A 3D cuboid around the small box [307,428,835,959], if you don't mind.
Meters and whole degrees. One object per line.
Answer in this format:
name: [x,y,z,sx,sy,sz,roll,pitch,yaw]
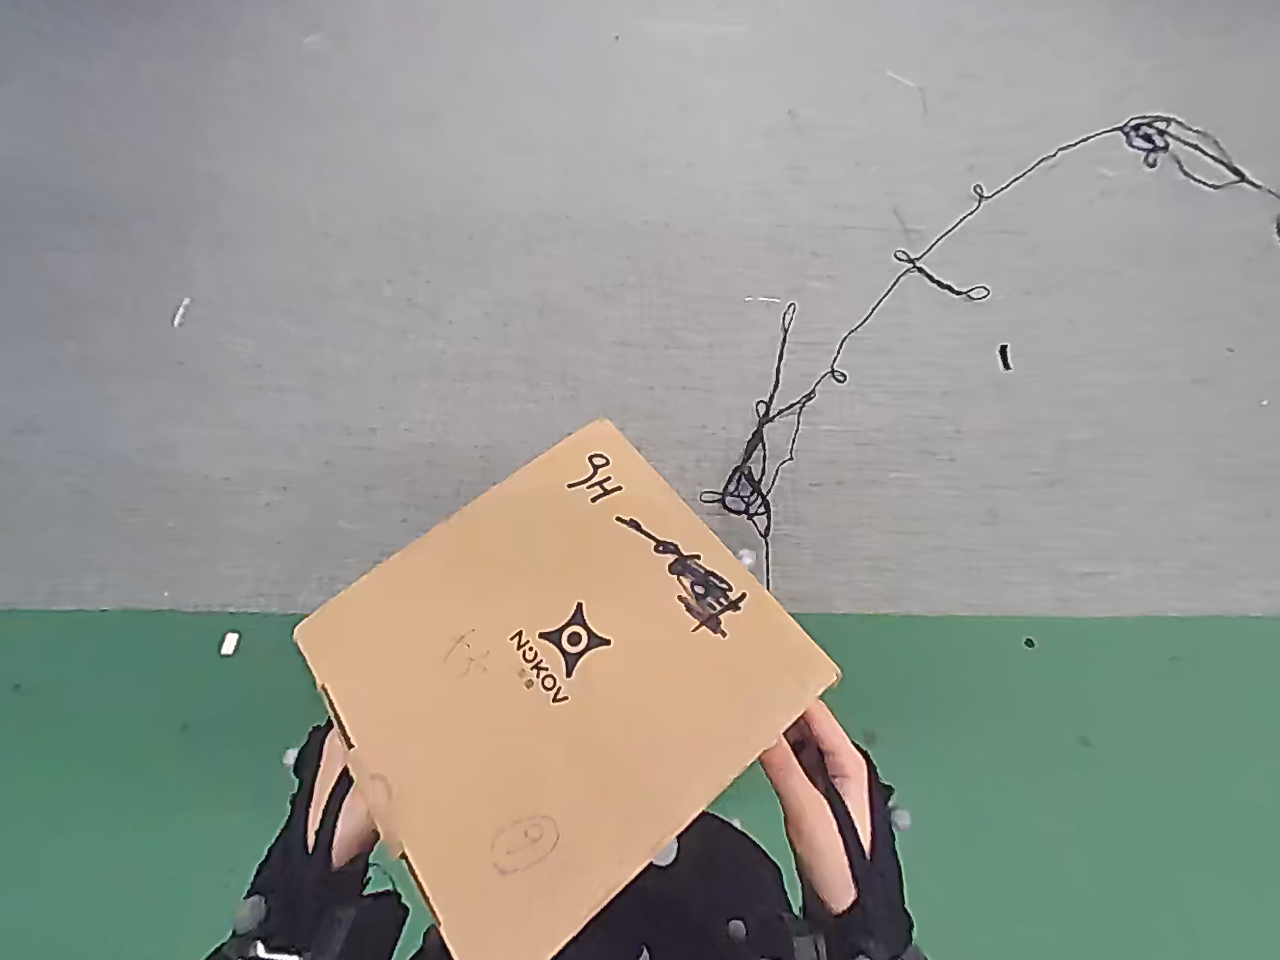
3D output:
small box: [-0.029,0.112,0.301,0.179,0.176,0.168,-36,67,-14]
